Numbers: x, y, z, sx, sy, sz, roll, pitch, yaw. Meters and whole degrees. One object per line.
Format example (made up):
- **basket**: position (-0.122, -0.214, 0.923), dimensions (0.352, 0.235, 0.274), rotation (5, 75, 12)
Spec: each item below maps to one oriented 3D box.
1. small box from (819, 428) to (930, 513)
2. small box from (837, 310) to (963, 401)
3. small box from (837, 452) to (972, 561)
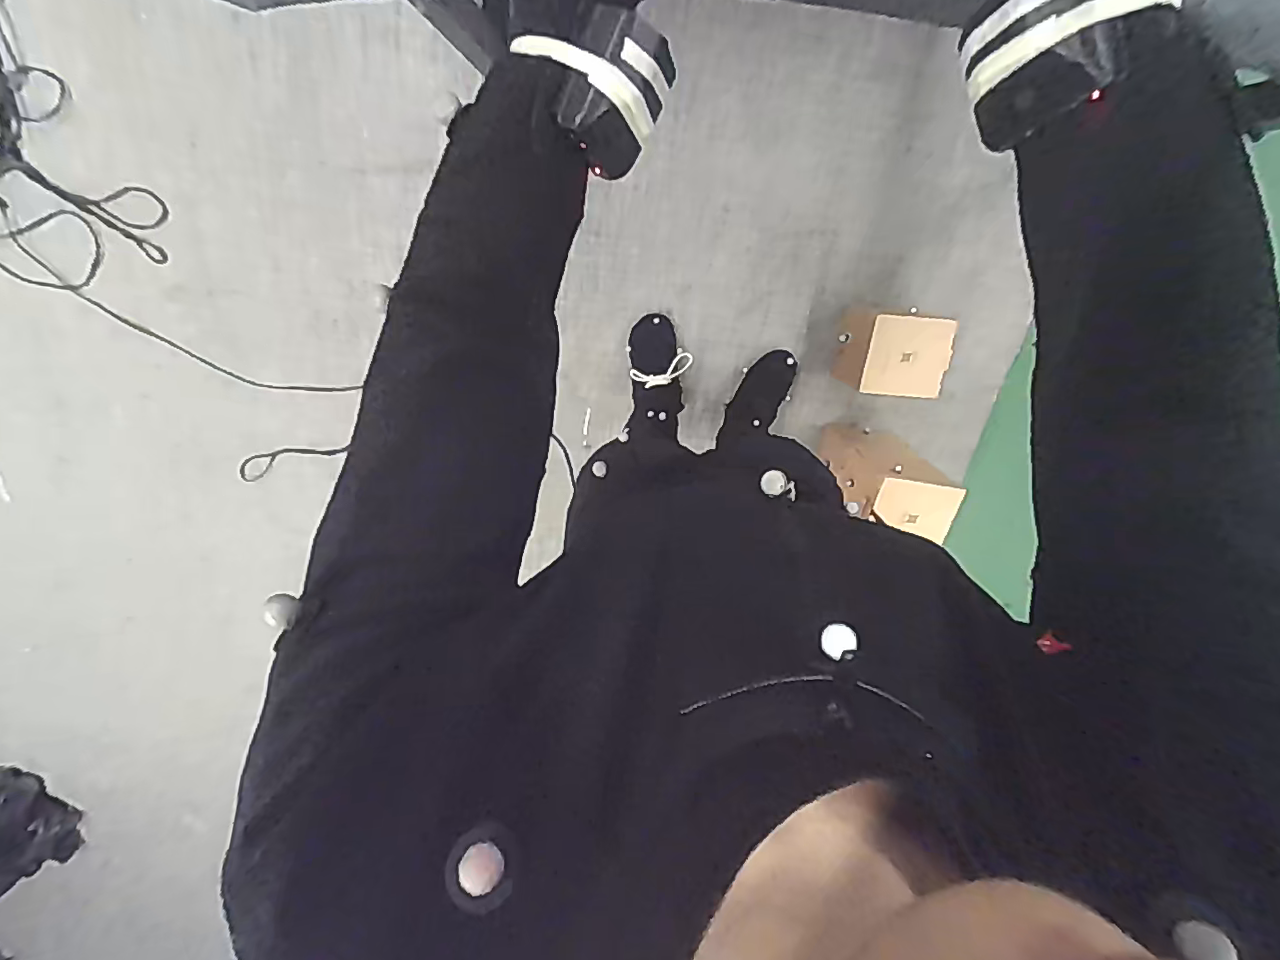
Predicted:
- **small box**: position (0.552, -0.017, 1.303), dimensions (0.179, 0.176, 0.168), rotation (8, 114, -2)
- **small box**: position (0.561, -0.279, 1.190), dimensions (0.179, 0.176, 0.168), rotation (4, 113, 0)
- **small box**: position (0.552, 0.051, 1.155), dimensions (0.179, 0.176, 0.168), rotation (8, 114, -4)
